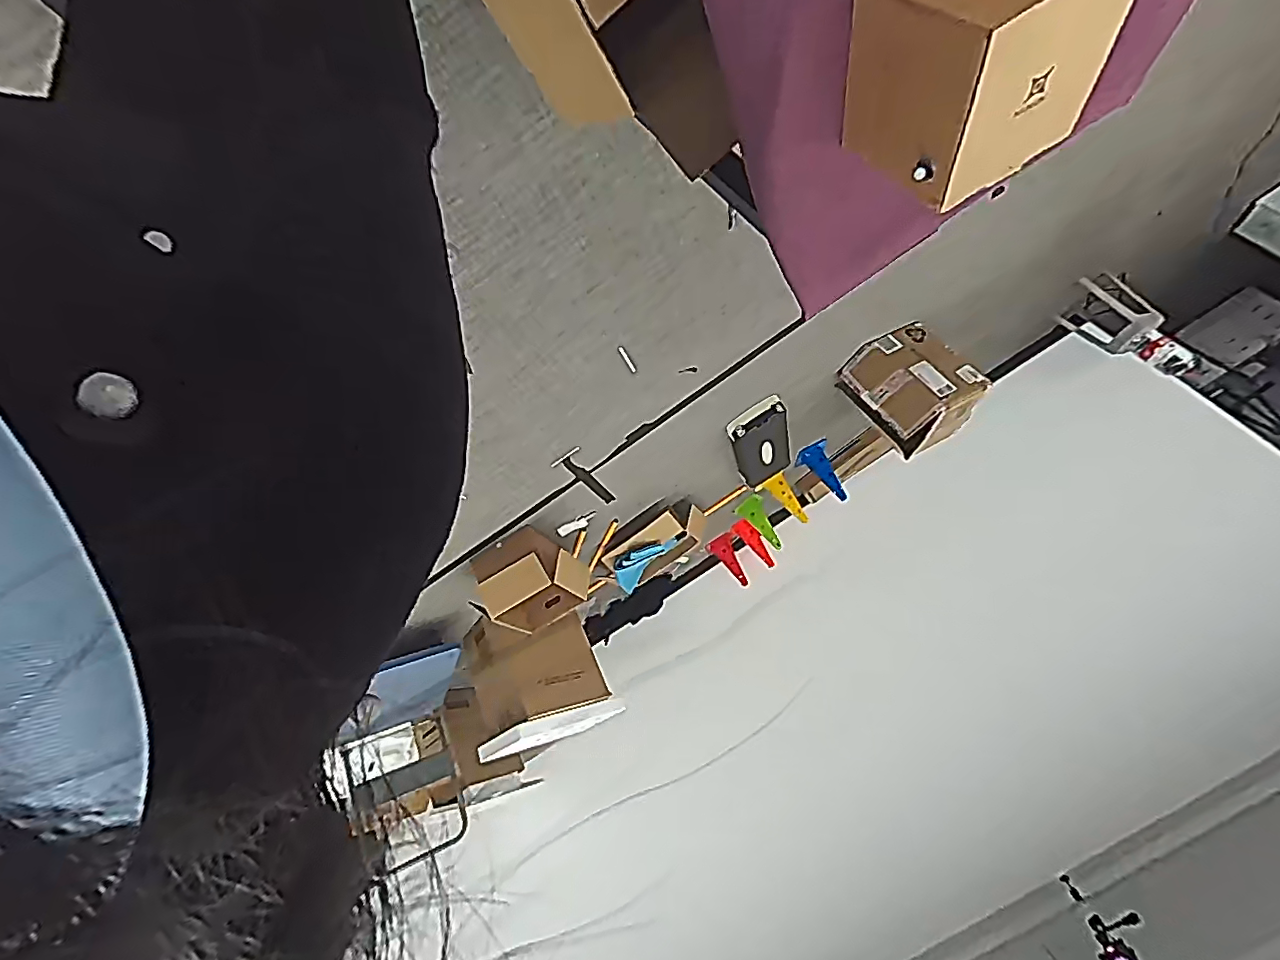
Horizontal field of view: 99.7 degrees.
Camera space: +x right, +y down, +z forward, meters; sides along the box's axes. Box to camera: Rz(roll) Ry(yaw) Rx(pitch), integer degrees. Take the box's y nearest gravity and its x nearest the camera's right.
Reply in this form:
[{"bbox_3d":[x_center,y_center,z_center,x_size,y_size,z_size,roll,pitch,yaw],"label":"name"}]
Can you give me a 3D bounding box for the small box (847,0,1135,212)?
[{"bbox_3d":[0.329,-0.419,0.536,0.168,0.176,0.179,-32,152,0],"label":"small box"}]
